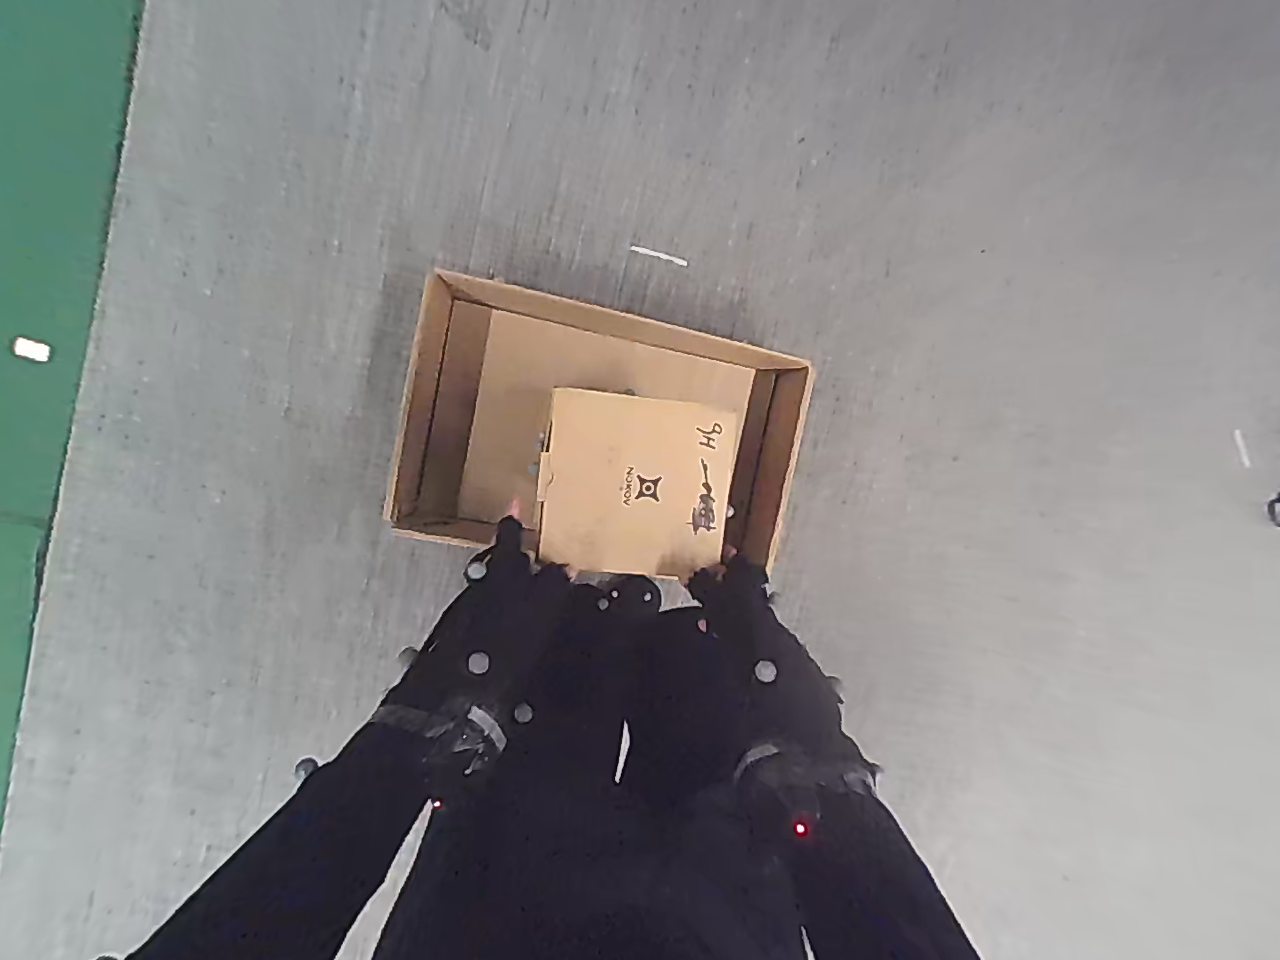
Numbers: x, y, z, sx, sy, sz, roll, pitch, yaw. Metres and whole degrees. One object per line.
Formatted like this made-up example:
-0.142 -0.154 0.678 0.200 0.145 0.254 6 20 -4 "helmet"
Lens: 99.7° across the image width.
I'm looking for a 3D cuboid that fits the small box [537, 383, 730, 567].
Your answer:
-0.018 -0.005 0.588 0.179 0.176 0.168 4 92 -11 "small box"
